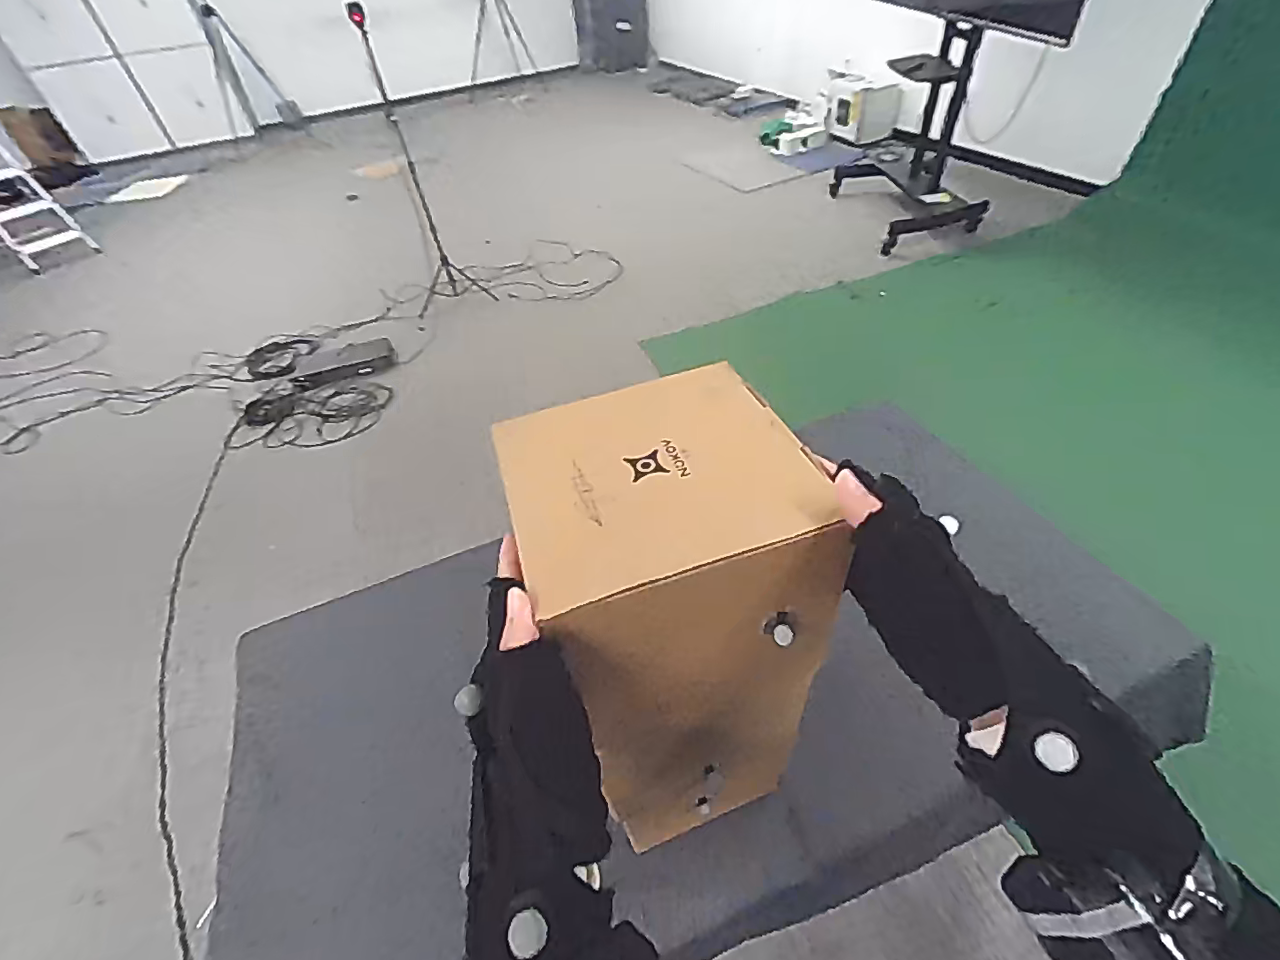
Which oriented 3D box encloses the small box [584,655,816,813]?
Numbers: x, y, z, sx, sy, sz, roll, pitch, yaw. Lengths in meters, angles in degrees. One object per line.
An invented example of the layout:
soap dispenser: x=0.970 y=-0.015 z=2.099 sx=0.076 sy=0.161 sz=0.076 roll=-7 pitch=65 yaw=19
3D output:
small box: x=0.030 y=0.167 z=0.494 sx=0.179 sy=0.176 sz=0.168 roll=-17 pitch=45 yaw=-11

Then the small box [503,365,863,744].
small box: x=0.021 y=0.050 z=0.380 sx=0.179 sy=0.176 sz=0.168 roll=-18 pitch=44 yaw=-9

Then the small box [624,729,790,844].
small box: x=0.046 y=0.276 z=0.615 sx=0.179 sy=0.176 sz=0.168 roll=-19 pitch=46 yaw=-10
